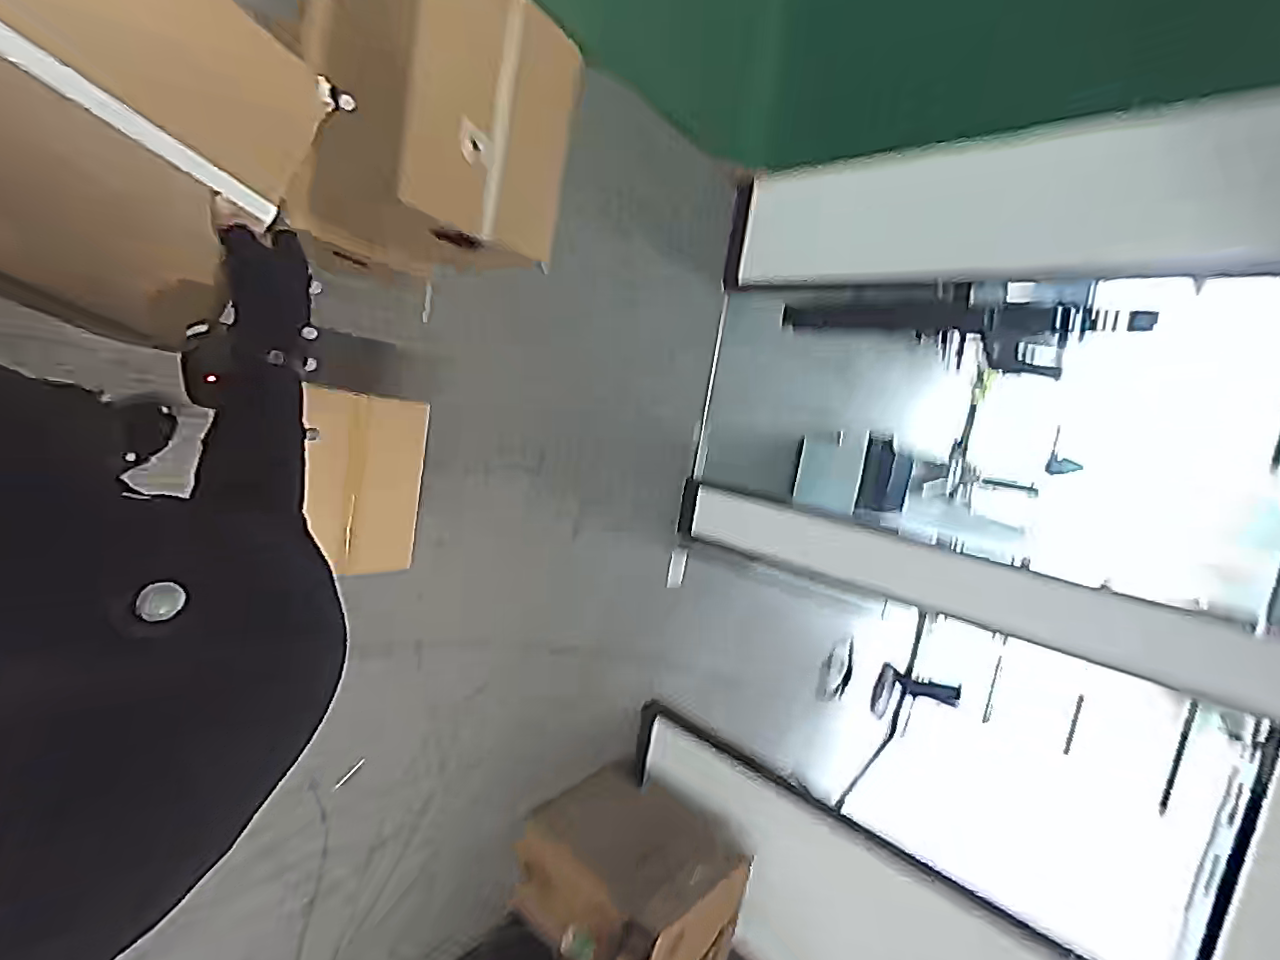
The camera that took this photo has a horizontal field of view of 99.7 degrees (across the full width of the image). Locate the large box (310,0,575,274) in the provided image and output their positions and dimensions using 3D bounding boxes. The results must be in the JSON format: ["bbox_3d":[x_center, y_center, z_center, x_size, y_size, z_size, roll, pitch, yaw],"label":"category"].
[{"bbox_3d":[-0.364,-0.637,1.005,0.320,0.320,0.408,4,100,-55],"label":"large box"}]
